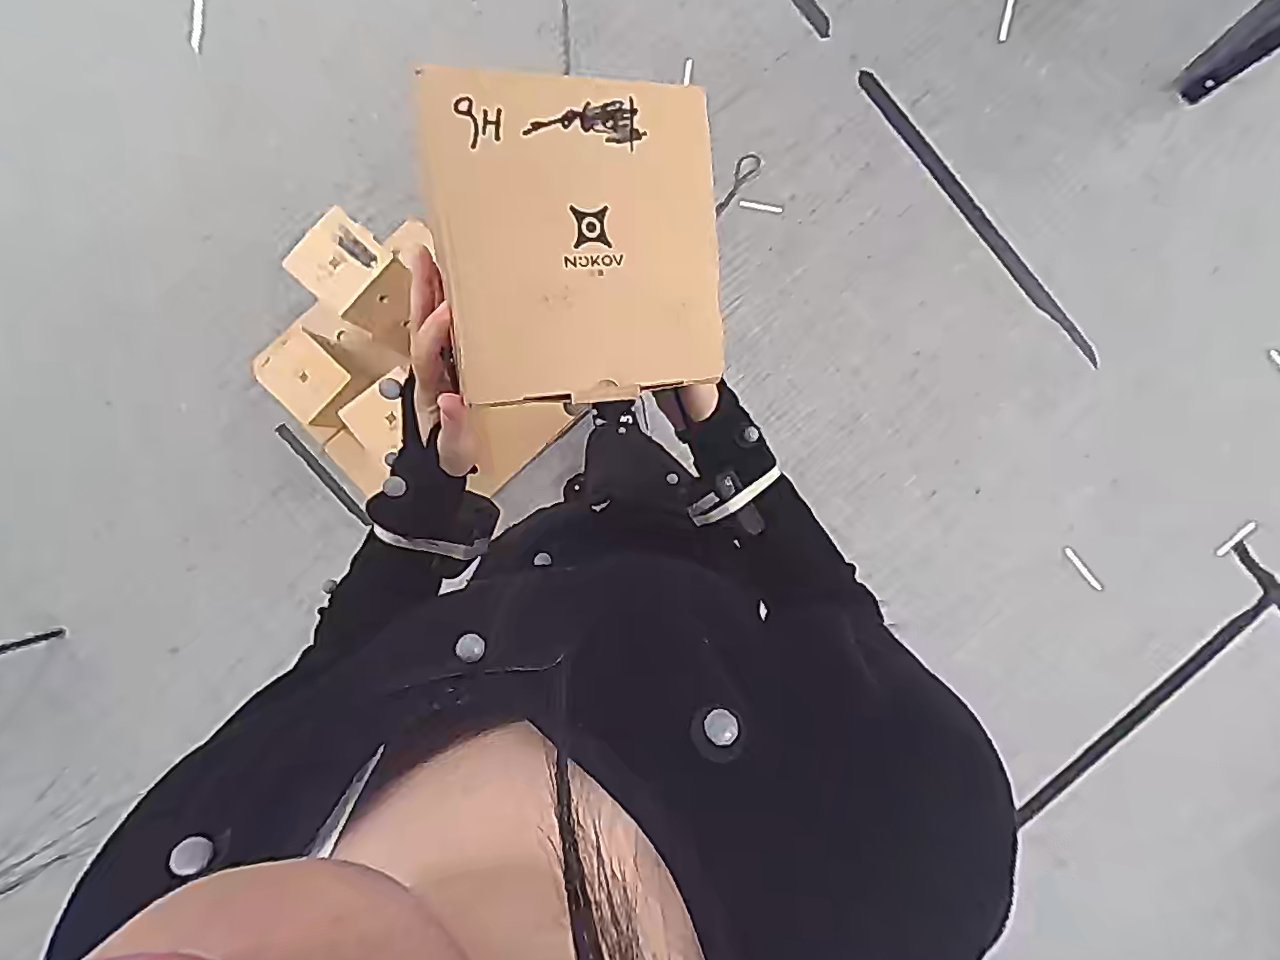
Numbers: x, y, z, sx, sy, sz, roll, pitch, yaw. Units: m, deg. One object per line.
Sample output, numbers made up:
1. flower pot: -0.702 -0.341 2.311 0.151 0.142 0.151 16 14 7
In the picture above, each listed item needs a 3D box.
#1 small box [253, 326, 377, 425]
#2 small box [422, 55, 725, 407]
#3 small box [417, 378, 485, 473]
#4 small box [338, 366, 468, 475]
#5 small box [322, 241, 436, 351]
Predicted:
1. small box: -0.806 -0.252 1.365 0.179 0.176 0.168 43 92 -2
2. small box: -0.053 -0.151 0.384 0.168 0.176 0.179 -9 103 -19
3. small box: -0.525 -0.132 1.375 0.168 0.176 0.179 -39 93 -1
4. small box: -0.519 -0.126 1.211 0.168 0.176 0.179 -38 93 -1
5. small box: -0.644 -0.455 1.366 0.168 0.176 0.179 44 90 -2
